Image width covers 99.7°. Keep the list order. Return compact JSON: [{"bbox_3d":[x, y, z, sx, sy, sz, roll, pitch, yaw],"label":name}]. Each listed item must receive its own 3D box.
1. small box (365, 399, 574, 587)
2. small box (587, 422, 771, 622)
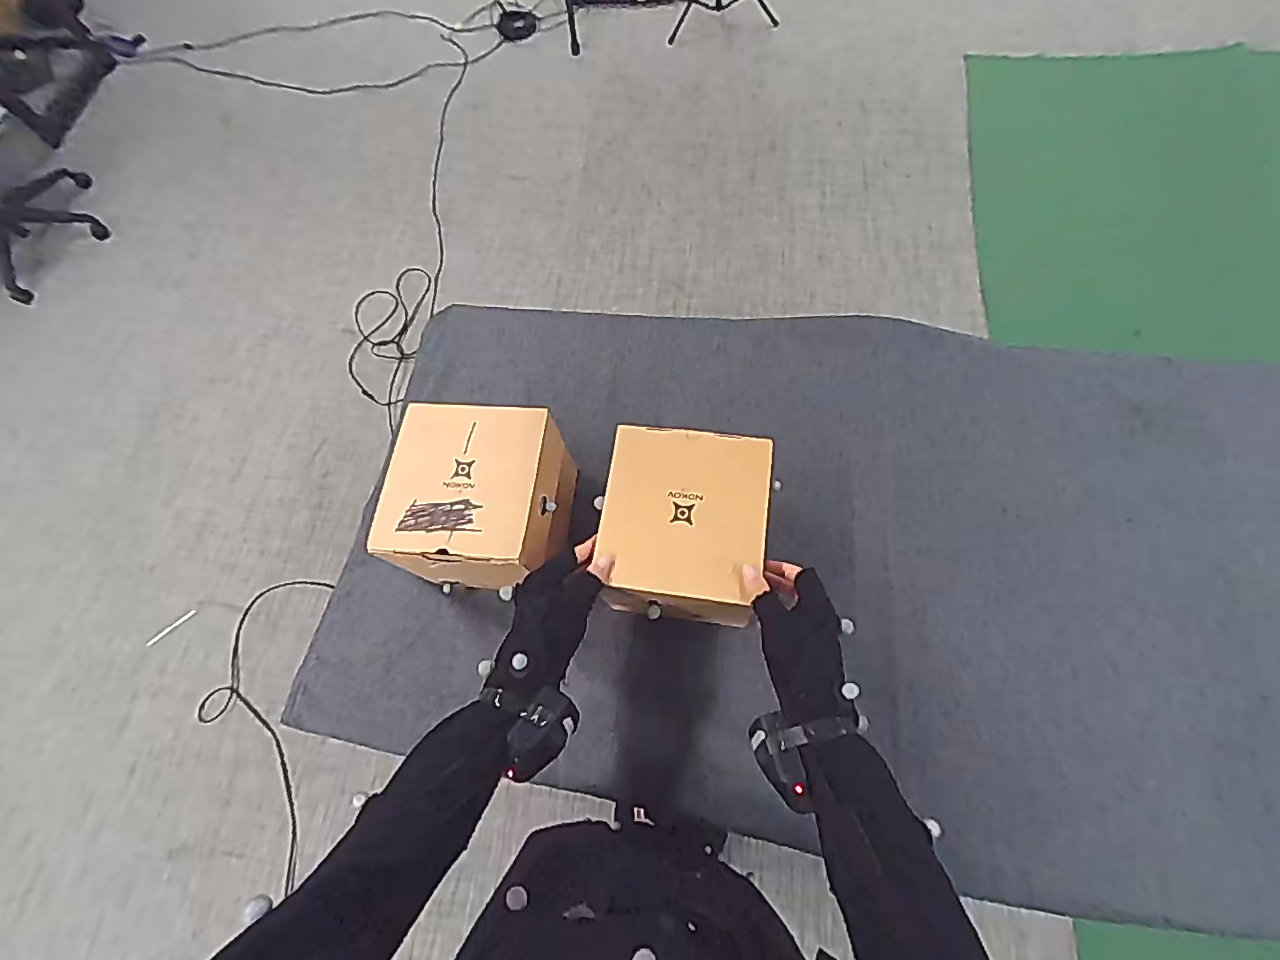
[{"bbox_3d":[-0.182,0.023,0.640,0.168,0.176,0.179,3,67,7],"label":"small box"},{"bbox_3d":[0.050,0.055,0.607,0.168,0.176,0.179,6,68,8],"label":"small box"}]
